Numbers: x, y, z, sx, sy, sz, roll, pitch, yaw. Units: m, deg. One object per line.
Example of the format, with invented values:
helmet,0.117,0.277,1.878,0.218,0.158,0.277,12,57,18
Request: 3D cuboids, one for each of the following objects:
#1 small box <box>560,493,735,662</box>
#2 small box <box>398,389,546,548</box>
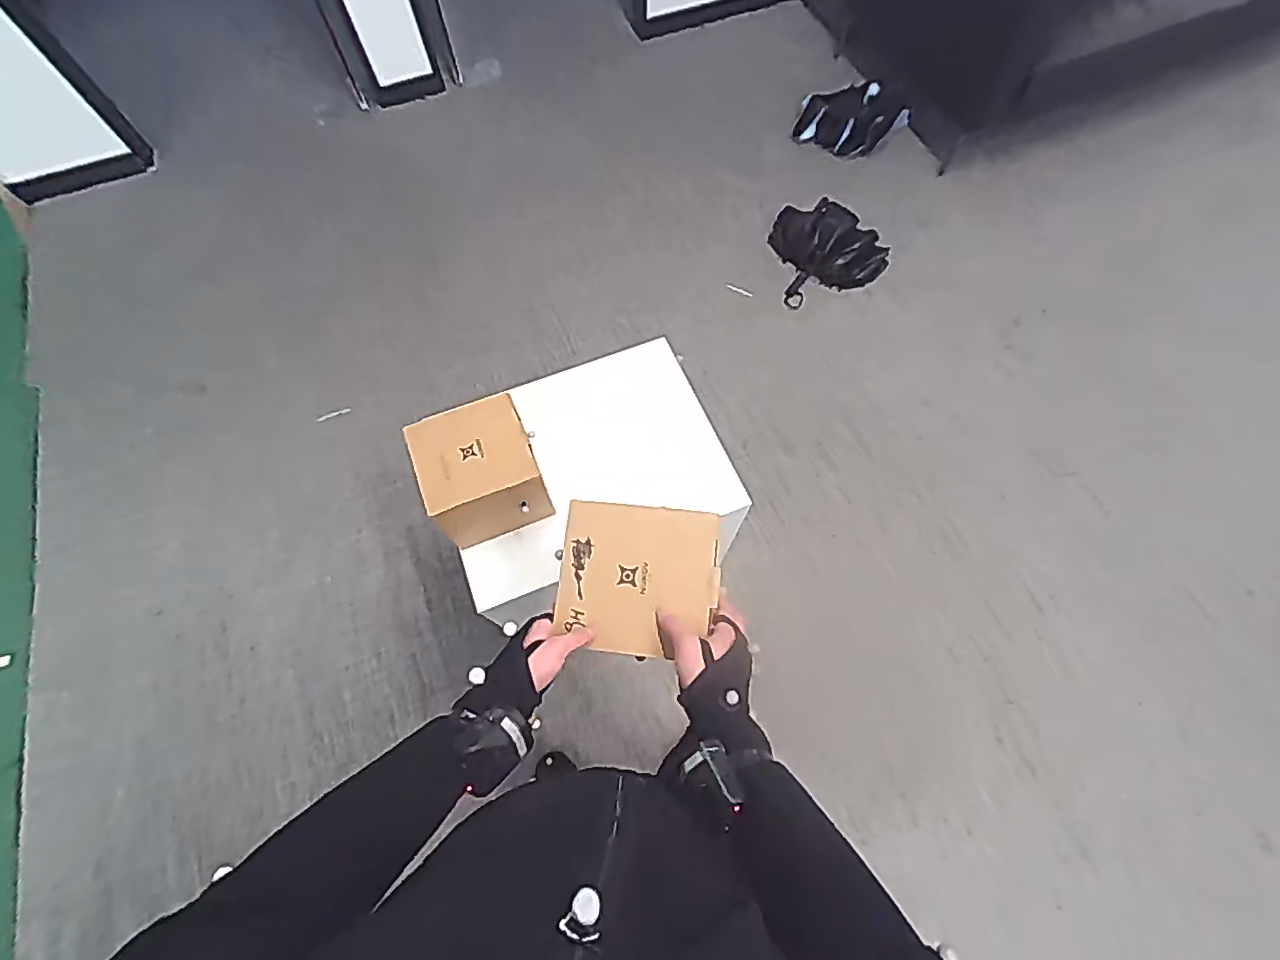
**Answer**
small box,0.014,0.120,0.663,0.179,0.176,0.168,6,76,5
small box,-0.259,-0.012,0.874,0.179,0.176,0.168,-22,67,-12
